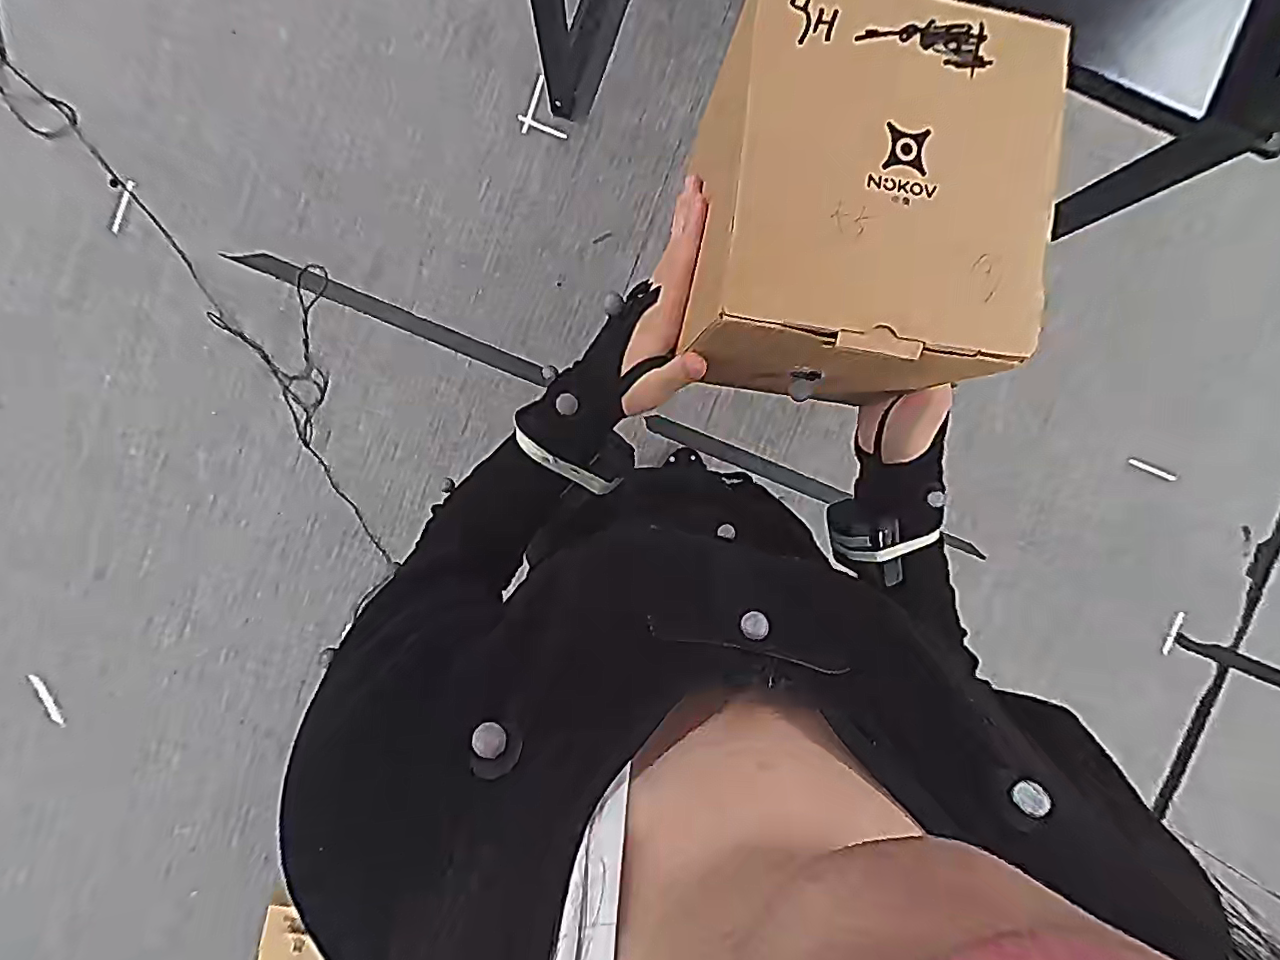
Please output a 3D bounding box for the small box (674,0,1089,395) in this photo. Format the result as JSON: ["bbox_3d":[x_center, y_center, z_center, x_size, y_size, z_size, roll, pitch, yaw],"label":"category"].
[{"bbox_3d":[0.121,-0.155,0.339,0.168,0.176,0.179,7,91,-8],"label":"small box"}]

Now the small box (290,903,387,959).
[{"bbox_3d":[-0.817,1.269,1.454,0.179,0.176,0.168,15,94,-5],"label":"small box"}]
